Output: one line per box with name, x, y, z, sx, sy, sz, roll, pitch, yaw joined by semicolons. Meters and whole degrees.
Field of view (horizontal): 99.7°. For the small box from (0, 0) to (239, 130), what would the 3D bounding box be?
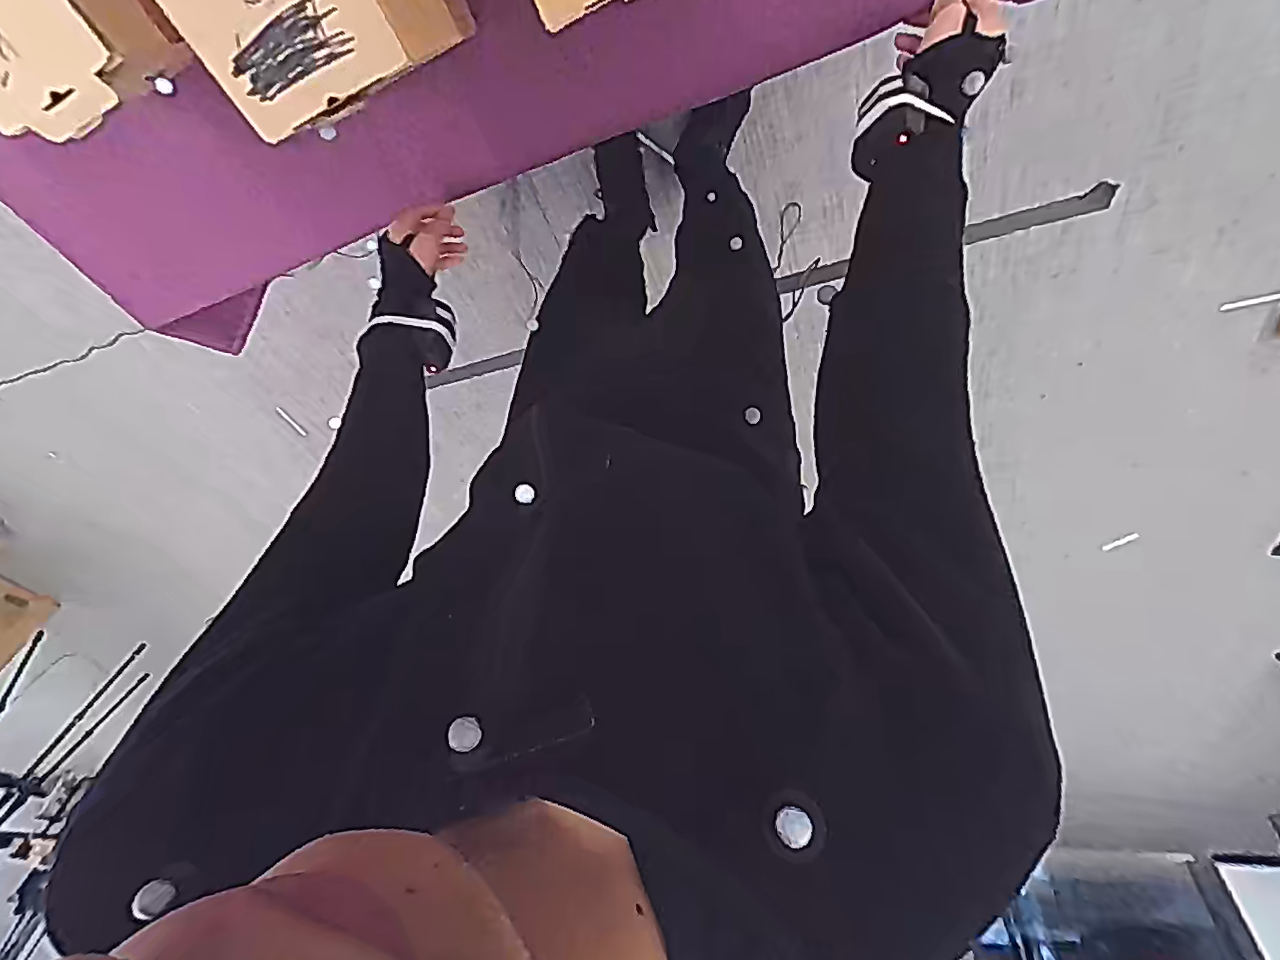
small box;-0.514;-0.446;0.465;0.168;0.176;0.179;-11;134;19
